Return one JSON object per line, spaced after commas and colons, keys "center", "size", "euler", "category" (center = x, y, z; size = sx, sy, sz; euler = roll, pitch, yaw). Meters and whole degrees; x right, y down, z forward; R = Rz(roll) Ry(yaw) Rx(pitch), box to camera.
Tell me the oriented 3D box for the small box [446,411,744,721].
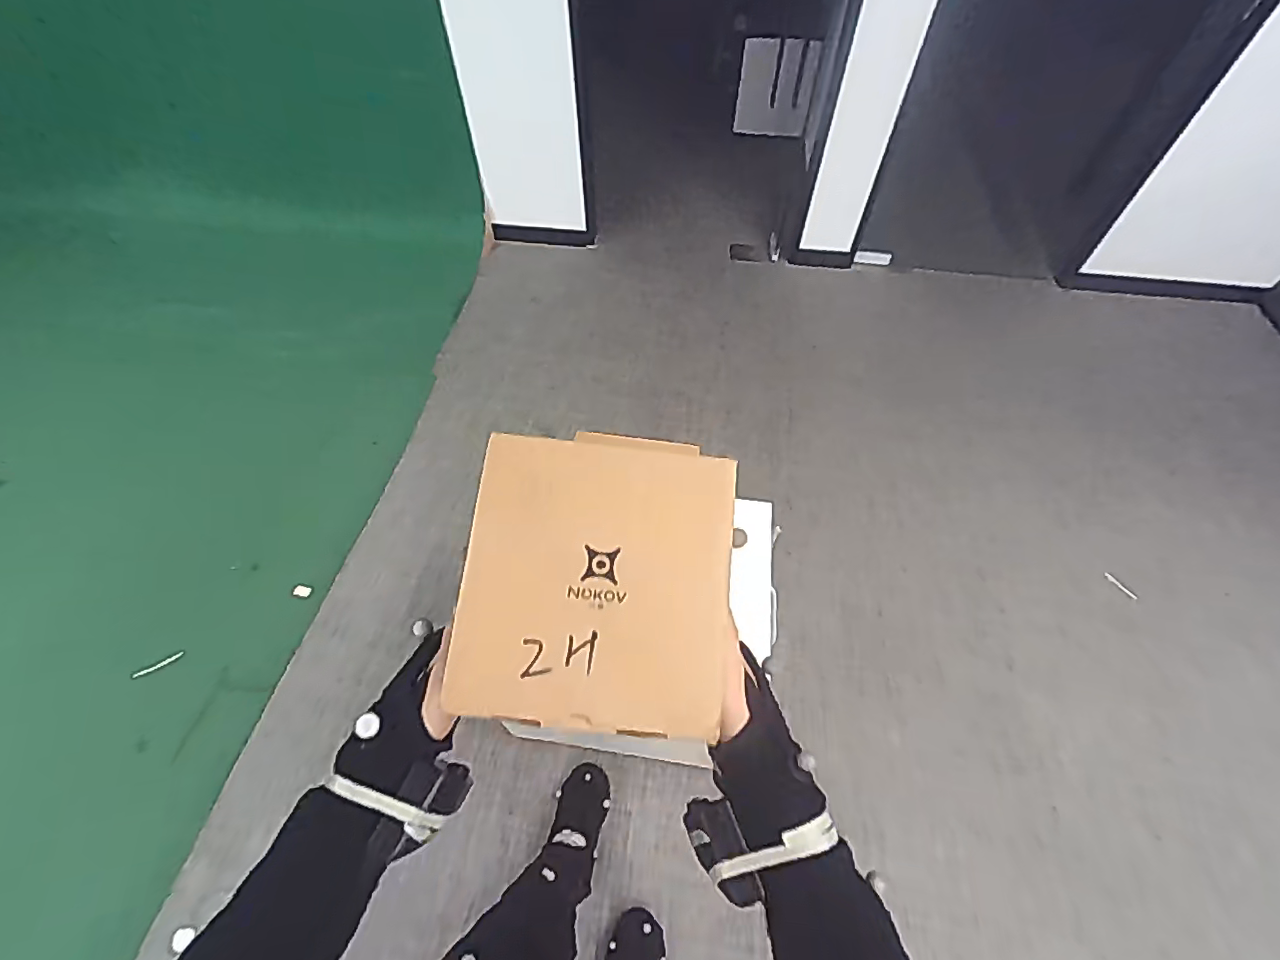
{"center": [-0.024, 0.069, 0.409], "size": [0.168, 0.176, 0.179], "euler": [6, 74, 0], "category": "small box"}
